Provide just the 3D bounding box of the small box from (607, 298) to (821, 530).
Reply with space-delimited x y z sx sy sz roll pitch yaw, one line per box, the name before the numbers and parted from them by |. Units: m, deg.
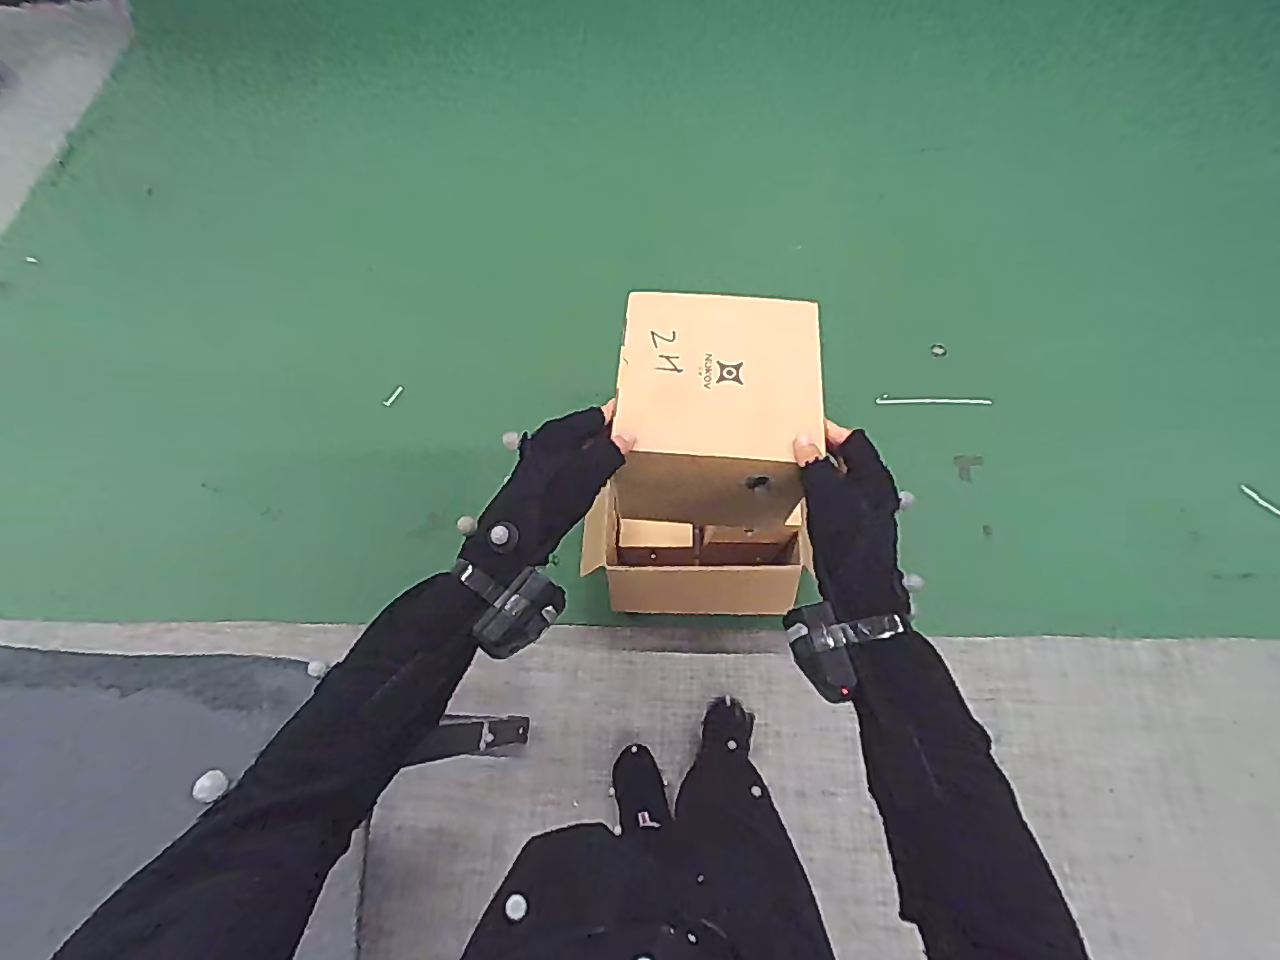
small box | 0.068 -0.056 0.542 0.179 0.176 0.168 4 66 4
